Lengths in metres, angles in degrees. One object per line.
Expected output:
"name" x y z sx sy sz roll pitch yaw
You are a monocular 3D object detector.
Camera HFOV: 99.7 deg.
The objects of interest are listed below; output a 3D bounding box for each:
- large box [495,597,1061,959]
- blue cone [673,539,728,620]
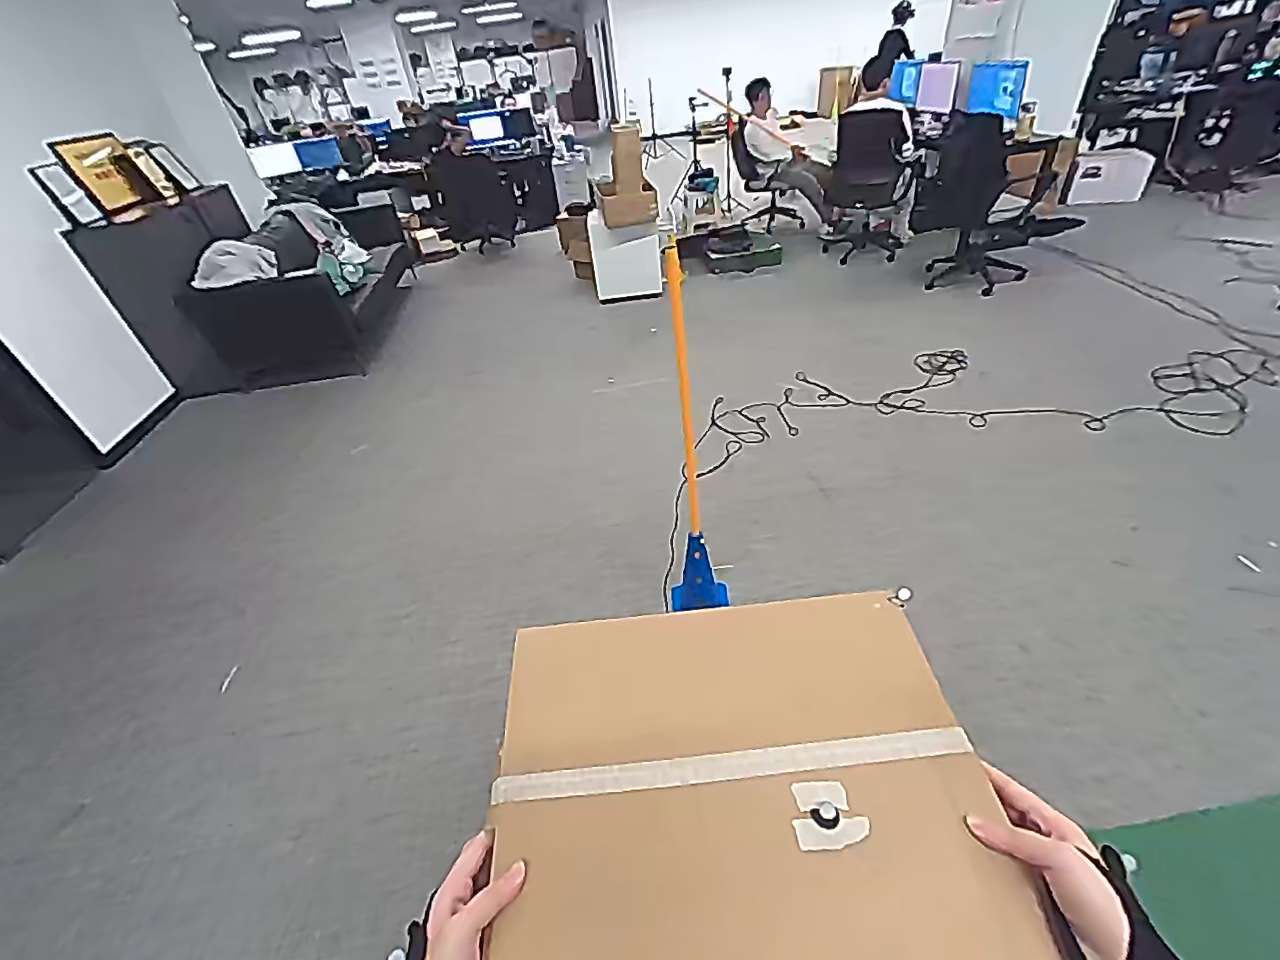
"large box" 0.091 0.359 0.574 0.408 0.320 0.320 -6 44 0
"blue cone" 0.195 0.333 1.787 0.193 0.380 0.192 -4 38 5
